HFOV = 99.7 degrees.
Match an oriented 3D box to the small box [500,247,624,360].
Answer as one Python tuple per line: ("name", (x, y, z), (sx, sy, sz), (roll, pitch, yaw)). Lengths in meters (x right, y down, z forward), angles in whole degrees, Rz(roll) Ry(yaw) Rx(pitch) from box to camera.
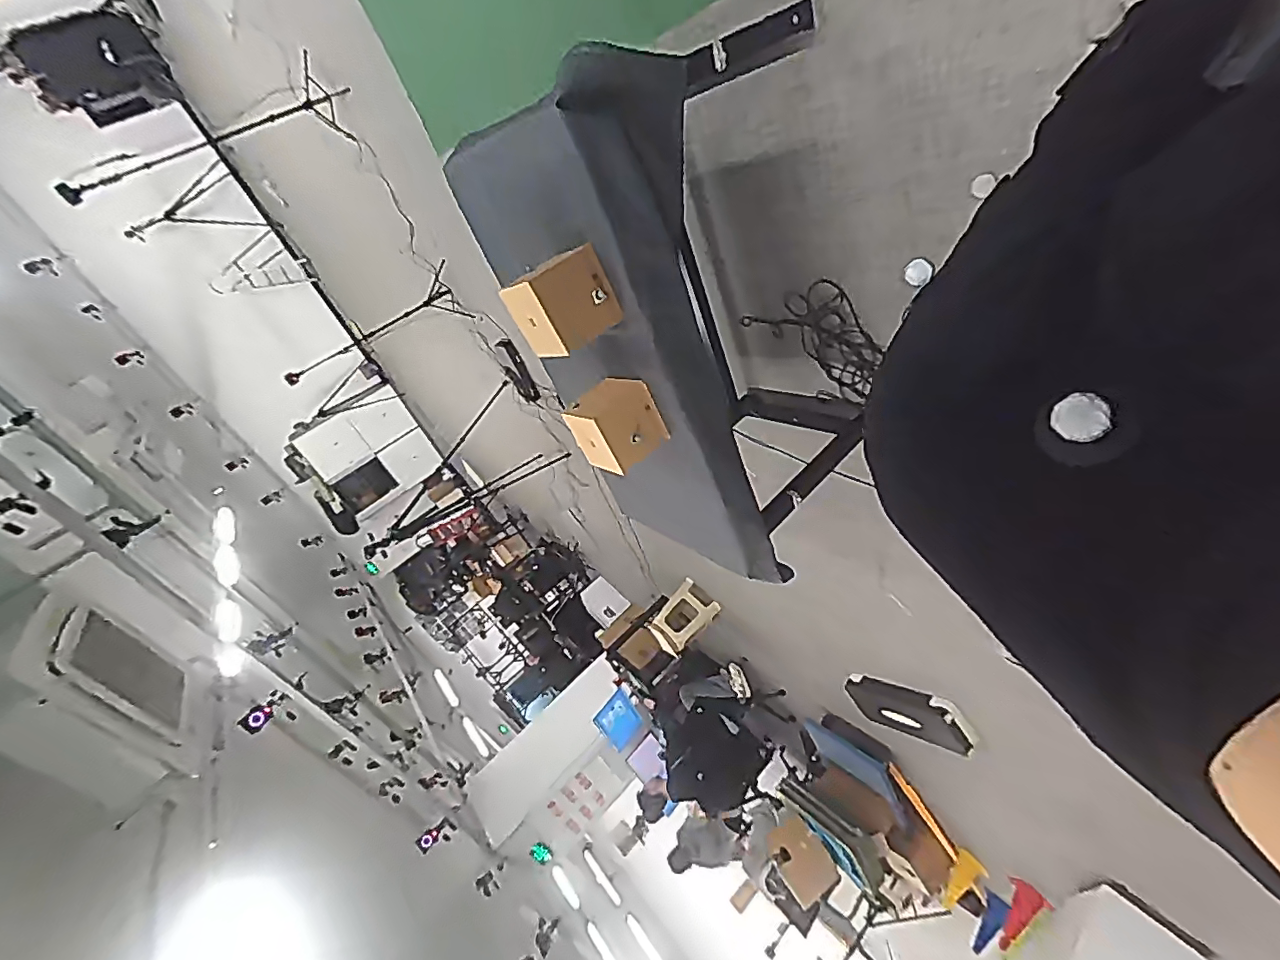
("small box", (-0.165, -0.375, 1.163), (0.179, 0.176, 0.168), (15, 141, 55))

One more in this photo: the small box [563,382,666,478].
("small box", (-0.056, -0.131, 1.349), (0.179, 0.176, 0.168), (18, 143, 54))
